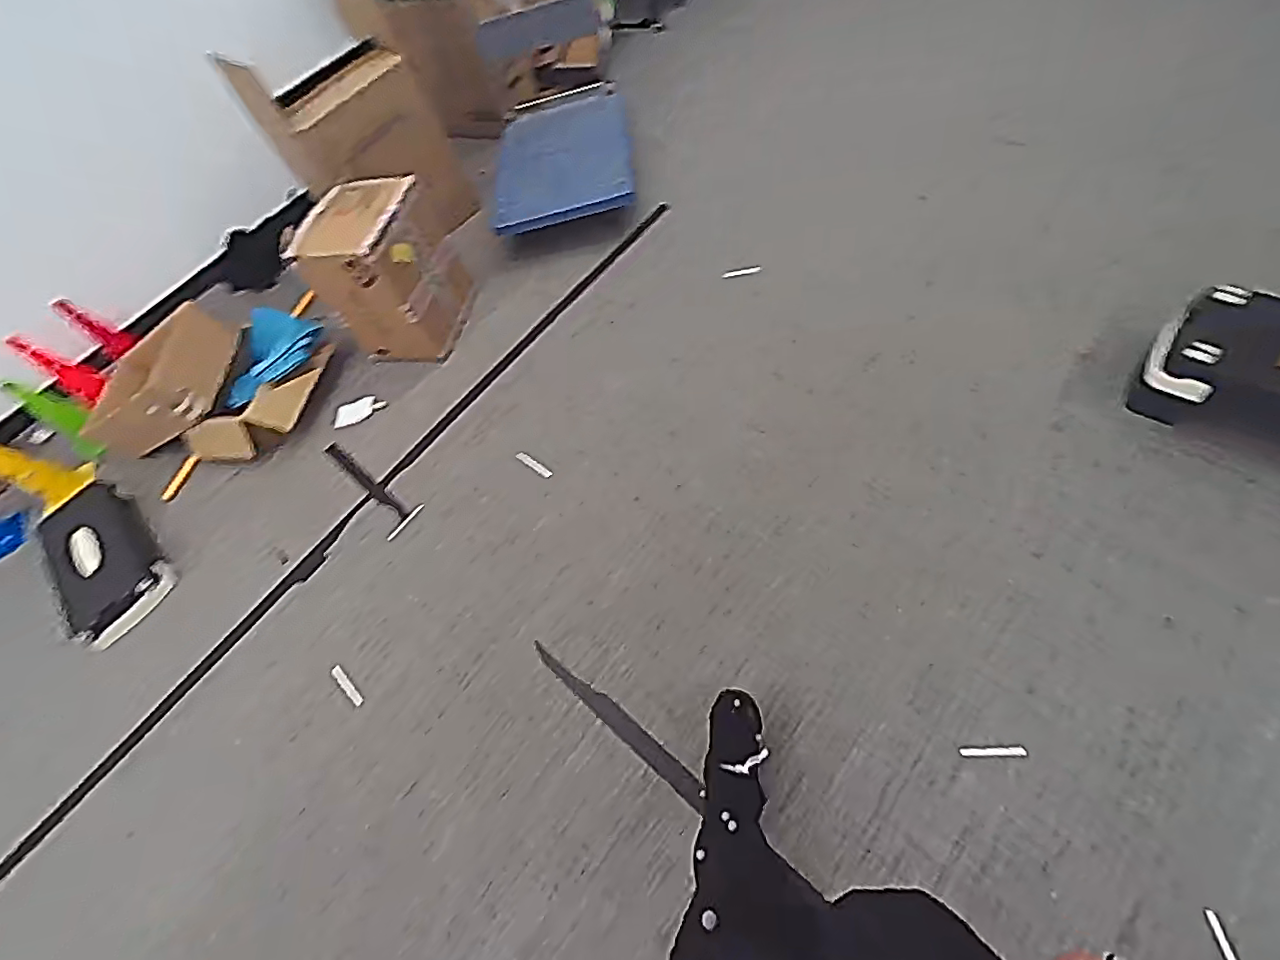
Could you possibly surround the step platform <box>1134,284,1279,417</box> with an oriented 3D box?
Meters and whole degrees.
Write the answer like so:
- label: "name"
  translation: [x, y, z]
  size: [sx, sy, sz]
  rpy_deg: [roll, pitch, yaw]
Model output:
- label: "step platform"
  translation: [1.558, -0.194, 1.181]
  size: [0.684, 0.204, 0.286]
  rpy_deg: [31, 71, 29]
